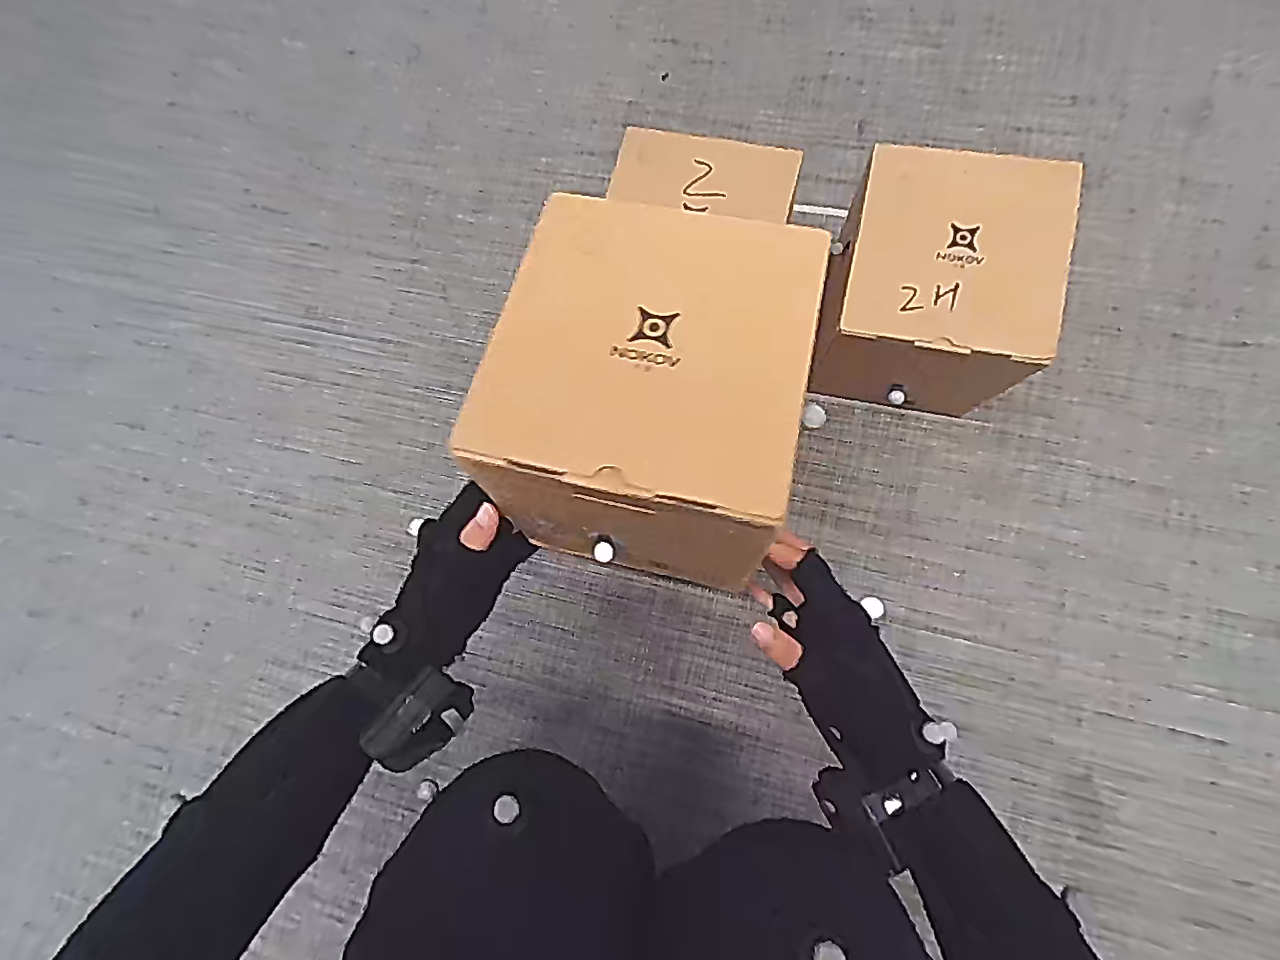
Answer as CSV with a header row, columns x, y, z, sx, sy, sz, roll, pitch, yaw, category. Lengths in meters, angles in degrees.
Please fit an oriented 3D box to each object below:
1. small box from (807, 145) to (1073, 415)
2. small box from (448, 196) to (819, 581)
x,y,z,sx,sy,sz,roll,pitch,yaw,category
0.269,-0.179,0.525,0.168,0.176,0.179,12,84,10,small box
0.006,-0.047,0.361,0.168,0.176,0.179,12,71,8,small box
